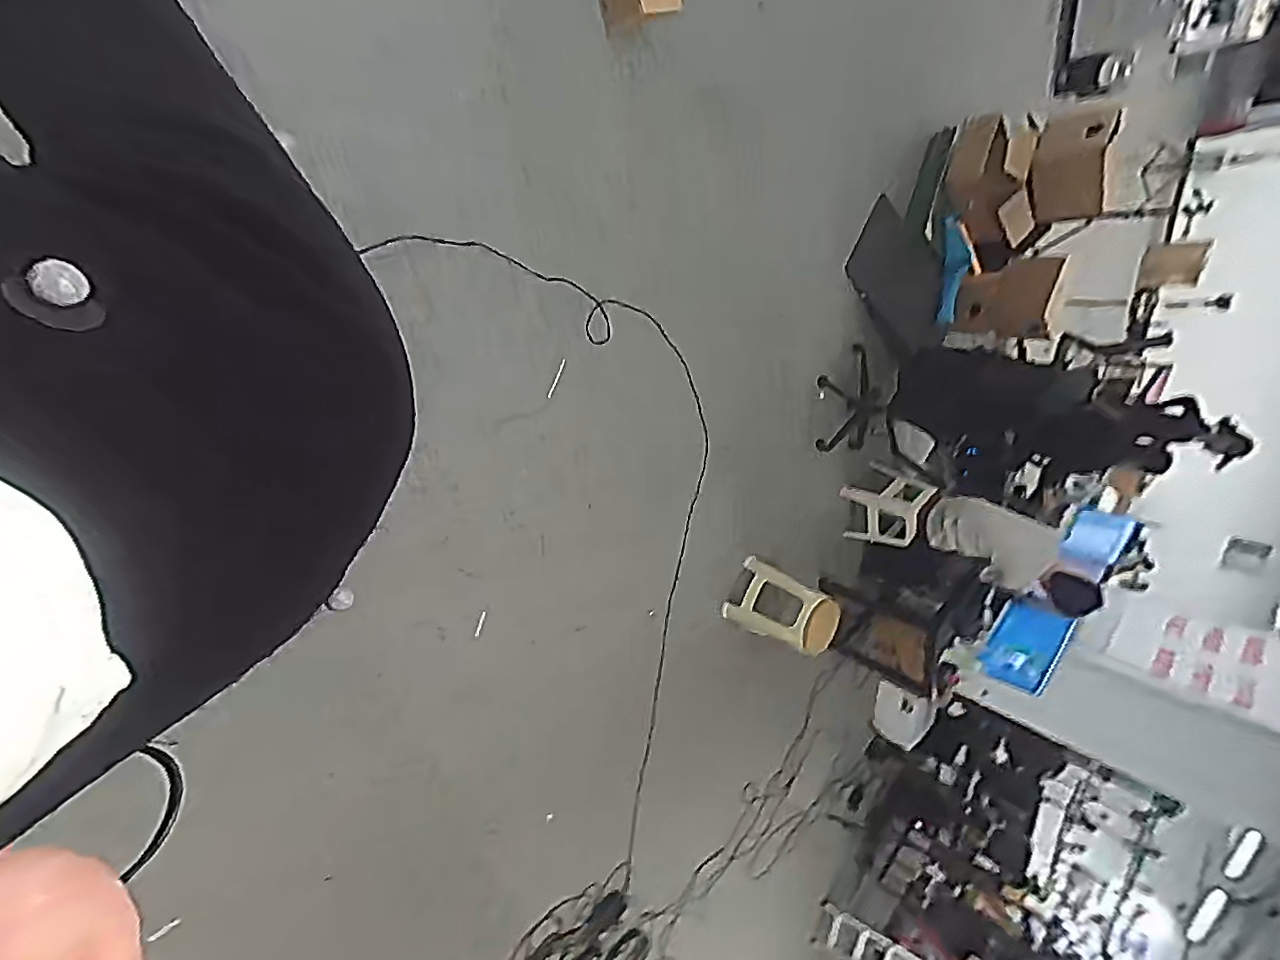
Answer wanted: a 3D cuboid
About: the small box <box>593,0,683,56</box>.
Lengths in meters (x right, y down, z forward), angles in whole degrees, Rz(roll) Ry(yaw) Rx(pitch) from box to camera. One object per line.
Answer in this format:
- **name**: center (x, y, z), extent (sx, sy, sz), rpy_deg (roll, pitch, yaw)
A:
- **small box**: center (-0.010, -1.433, 1.618), extent (0.179, 0.176, 0.168), rpy_deg (40, 73, -41)
